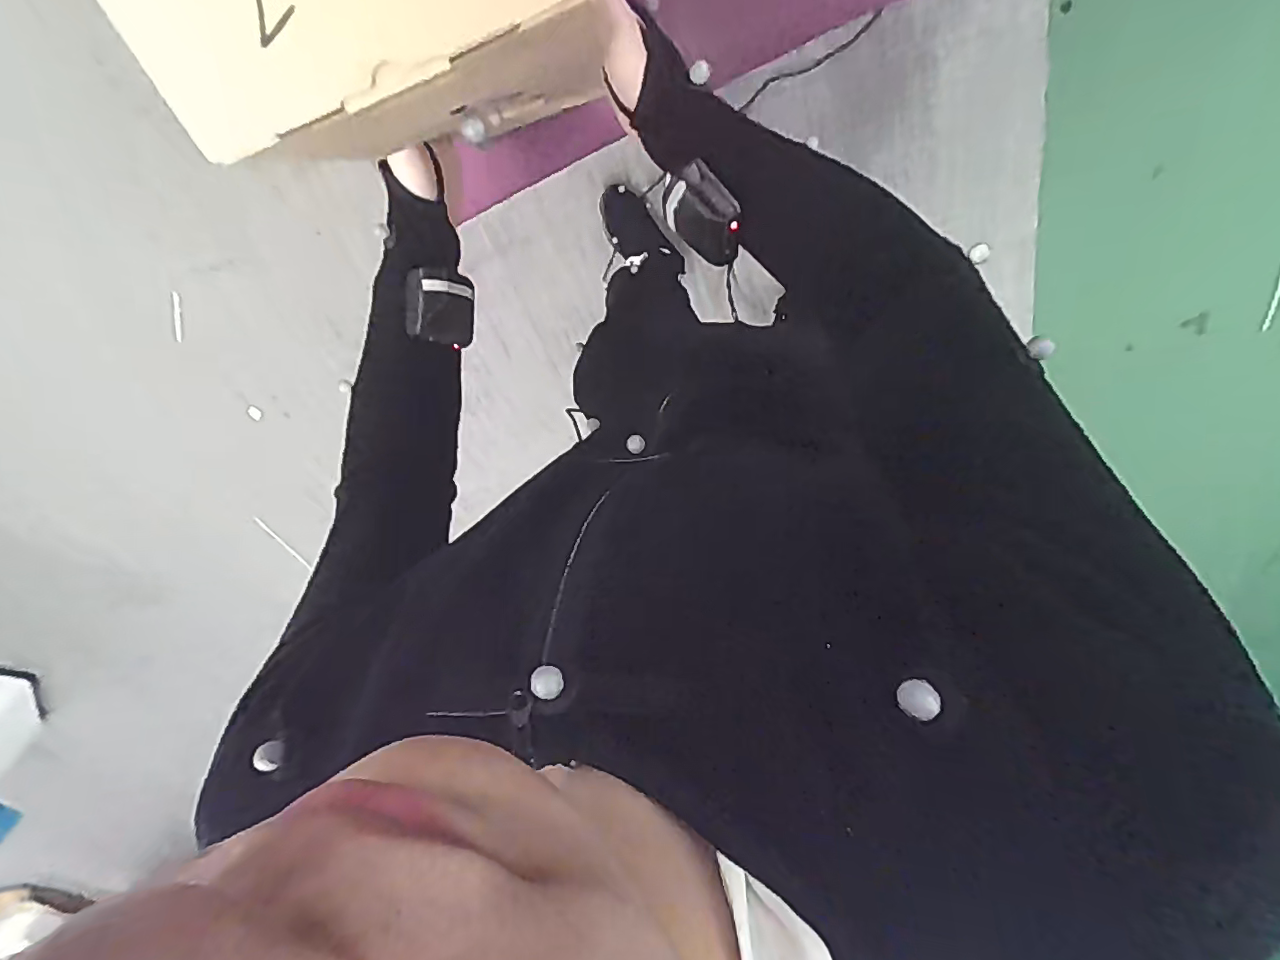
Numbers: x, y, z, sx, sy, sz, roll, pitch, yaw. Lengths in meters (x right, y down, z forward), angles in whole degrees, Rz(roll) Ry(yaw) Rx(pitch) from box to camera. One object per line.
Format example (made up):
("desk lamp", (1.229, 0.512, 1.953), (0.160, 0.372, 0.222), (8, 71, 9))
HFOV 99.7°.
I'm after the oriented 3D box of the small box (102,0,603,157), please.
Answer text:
("small box", (-0.122, -0.260, 0.228), (0.168, 0.176, 0.179), (-17, 121, 10))
